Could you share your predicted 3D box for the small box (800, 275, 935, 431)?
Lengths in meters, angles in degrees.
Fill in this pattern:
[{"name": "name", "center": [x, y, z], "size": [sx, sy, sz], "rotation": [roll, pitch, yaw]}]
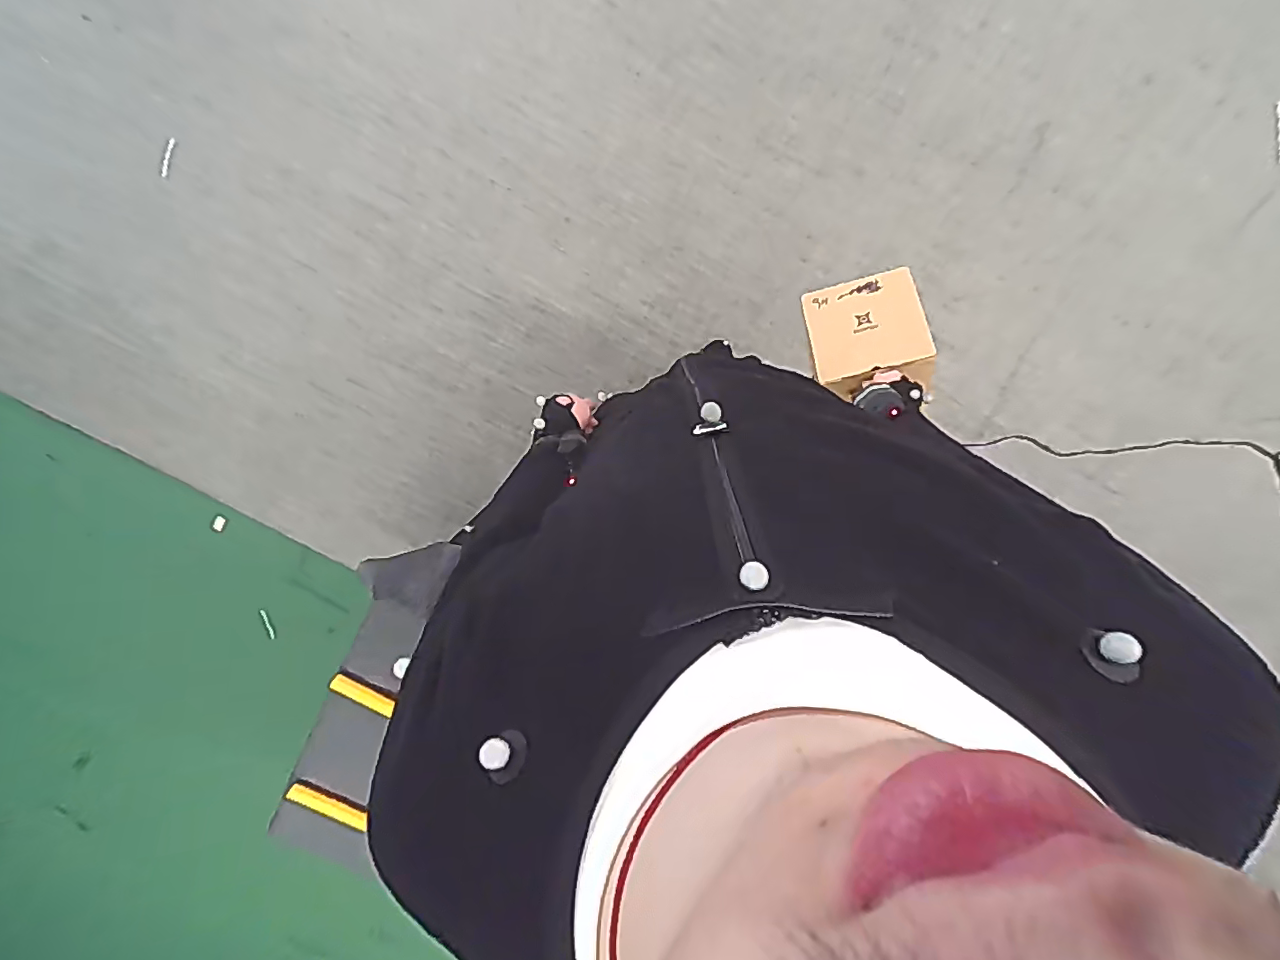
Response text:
[{"name": "small box", "center": [0.378, -0.198, 0.905], "size": [0.168, 0.176, 0.179], "rotation": [-14, 63, 18]}]
